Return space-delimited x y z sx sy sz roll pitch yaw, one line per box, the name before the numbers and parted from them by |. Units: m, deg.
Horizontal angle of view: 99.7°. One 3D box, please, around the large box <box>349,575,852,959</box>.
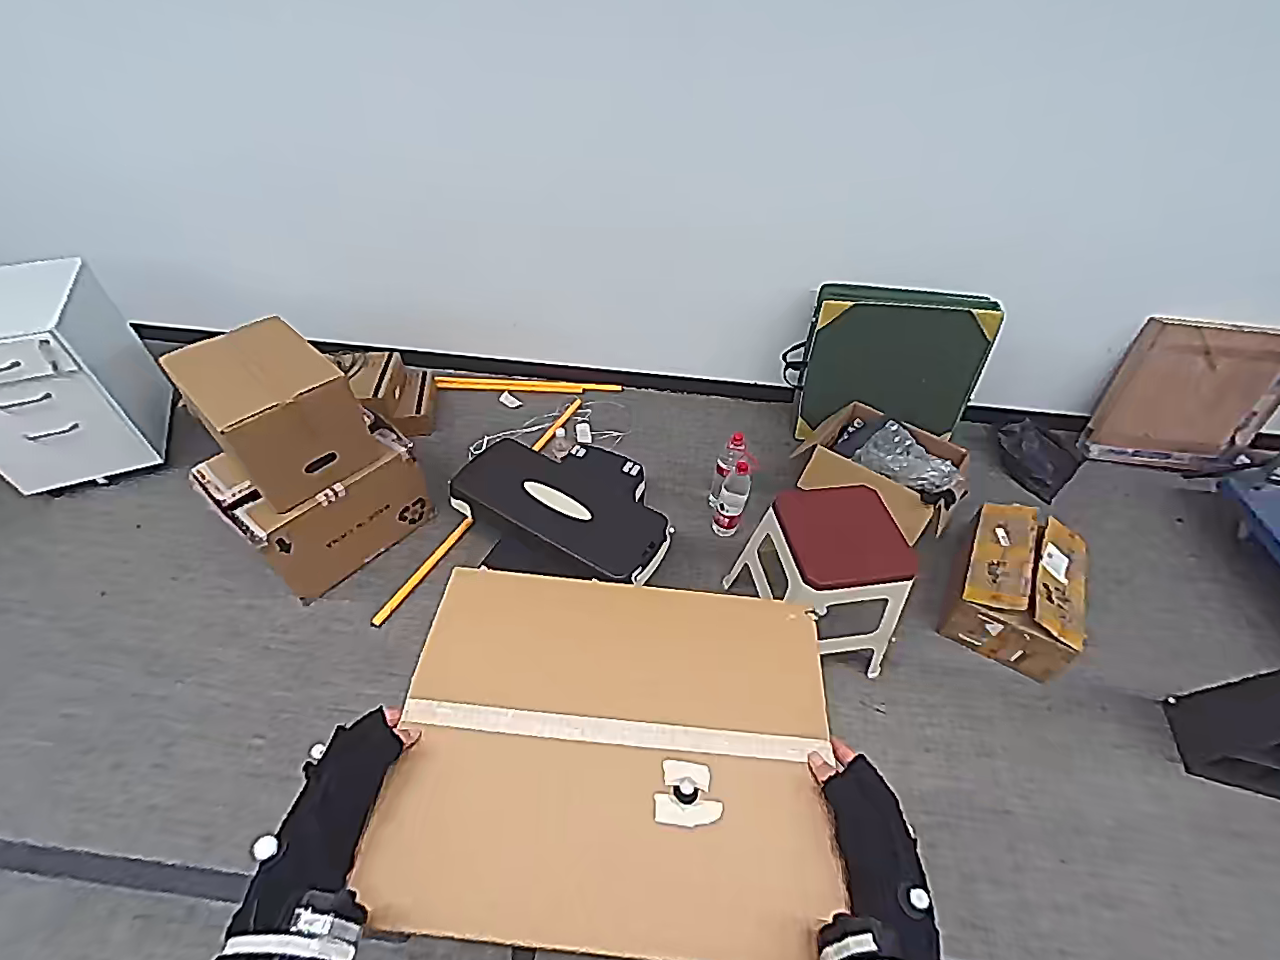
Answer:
large box | -0.030 0.338 0.626 0.408 0.320 0.320 6 50 1
